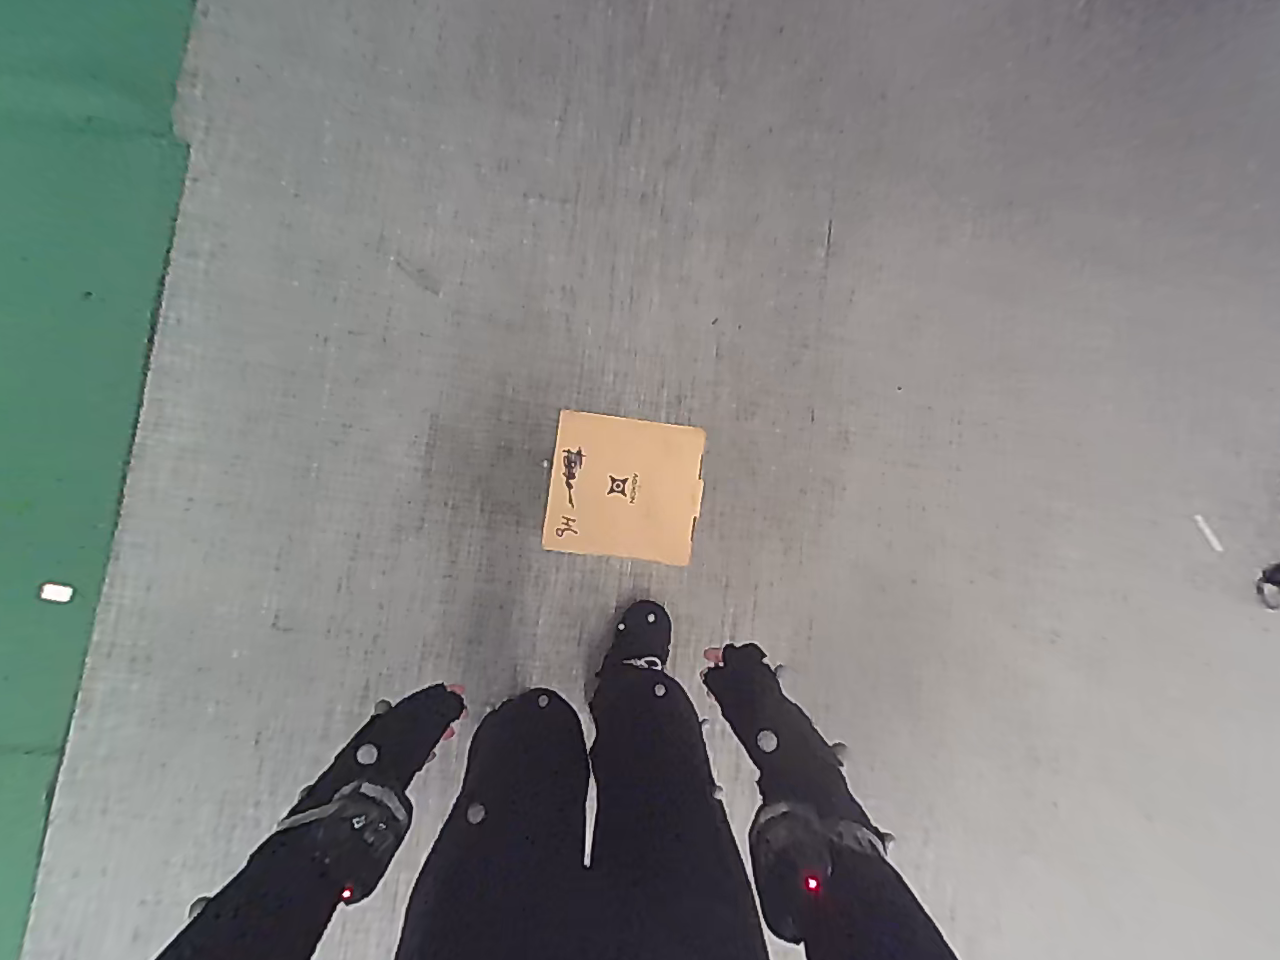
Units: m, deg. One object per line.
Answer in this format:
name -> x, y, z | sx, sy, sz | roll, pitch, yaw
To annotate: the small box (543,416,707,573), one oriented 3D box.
small box -> -0.023, 0.023, 0.714 | 0.179, 0.176, 0.168 | 8, 84, -4
